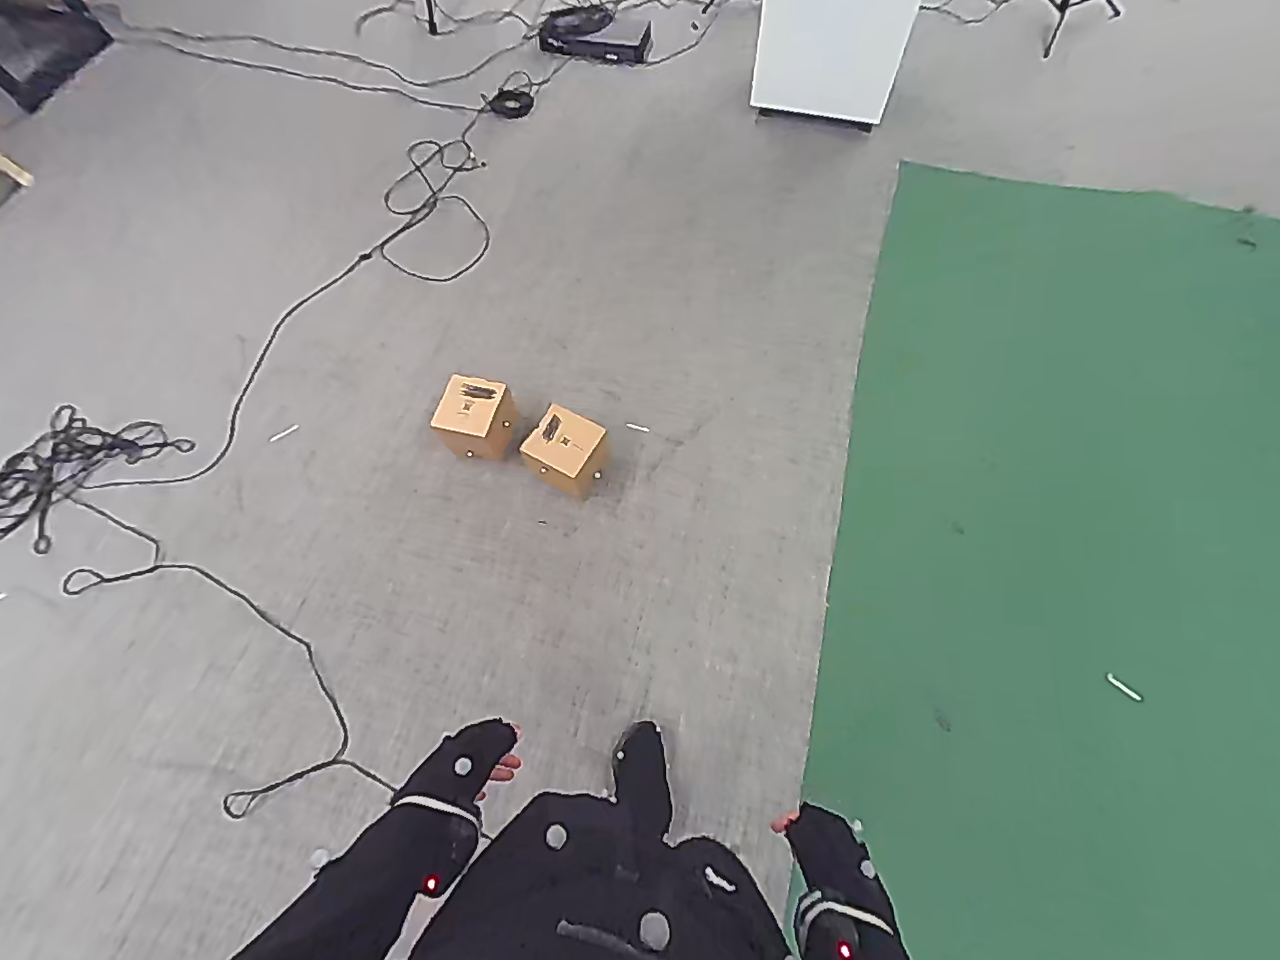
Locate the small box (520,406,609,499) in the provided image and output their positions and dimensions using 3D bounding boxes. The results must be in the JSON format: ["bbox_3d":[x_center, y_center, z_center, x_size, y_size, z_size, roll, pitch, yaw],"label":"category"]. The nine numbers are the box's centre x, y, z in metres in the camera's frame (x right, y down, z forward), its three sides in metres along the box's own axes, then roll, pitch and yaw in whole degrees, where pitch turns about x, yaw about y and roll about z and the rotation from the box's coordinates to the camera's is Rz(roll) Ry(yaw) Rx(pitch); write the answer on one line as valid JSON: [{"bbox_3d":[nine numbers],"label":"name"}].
[{"bbox_3d":[-0.204,-0.071,1.508,0.179,0.176,0.168,28,70,13],"label":"small box"}]
